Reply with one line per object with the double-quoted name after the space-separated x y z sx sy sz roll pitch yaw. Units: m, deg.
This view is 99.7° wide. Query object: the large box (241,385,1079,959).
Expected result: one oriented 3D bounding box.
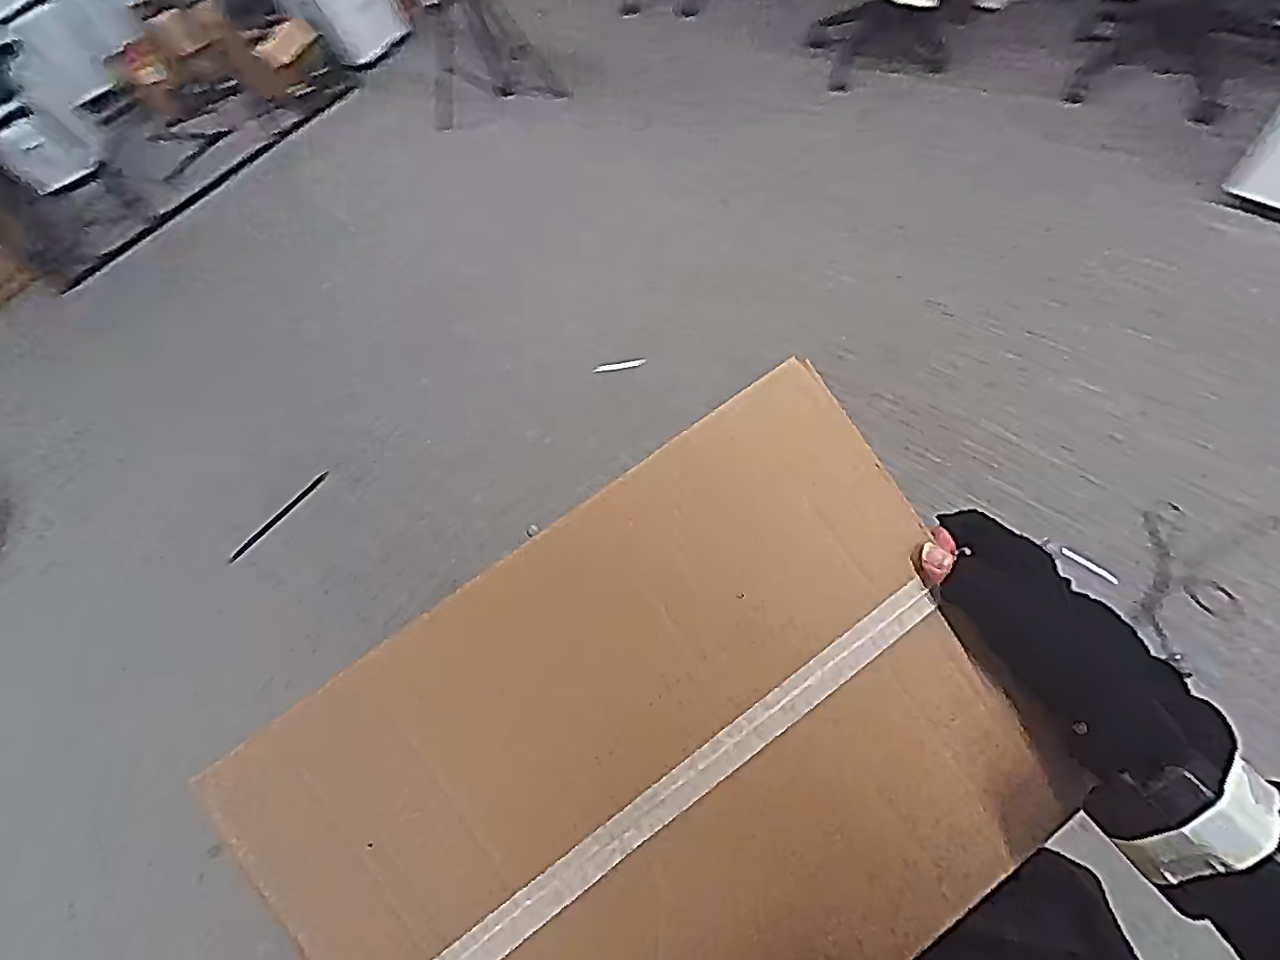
0.016 0.182 0.460 0.408 0.320 0.320 -35 89 -5 "large box"
